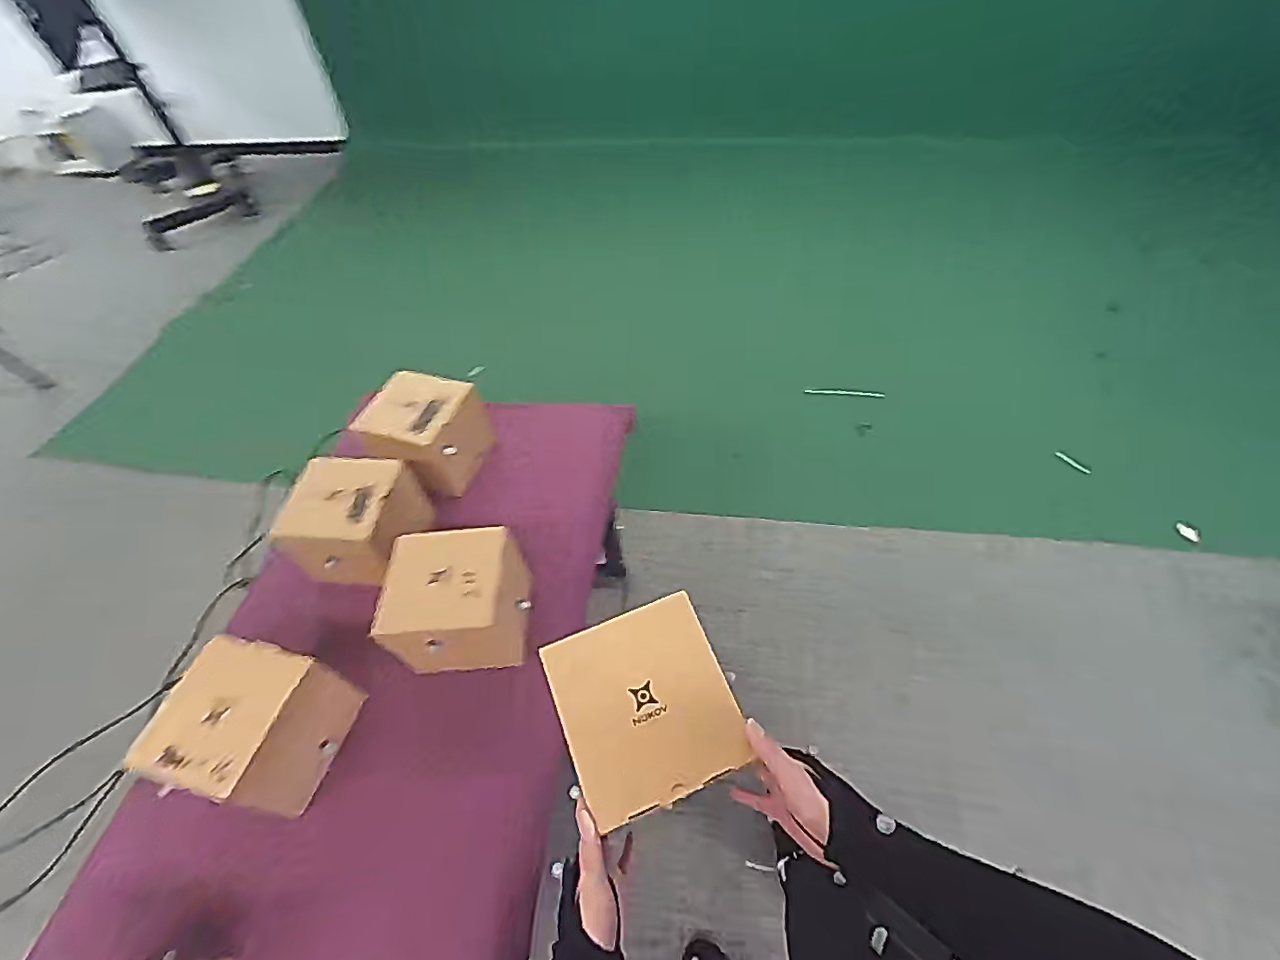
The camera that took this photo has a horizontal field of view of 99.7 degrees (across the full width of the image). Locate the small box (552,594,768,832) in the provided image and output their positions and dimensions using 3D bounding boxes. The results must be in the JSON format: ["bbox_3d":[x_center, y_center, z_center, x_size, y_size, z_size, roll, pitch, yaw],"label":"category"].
[{"bbox_3d":[0.014,0.253,0.595,0.168,0.176,0.179,-19,64,-10],"label":"small box"}]

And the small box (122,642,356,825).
[{"bbox_3d":[-0.541,0.360,0.766,0.168,0.176,0.179,9,53,12],"label":"small box"}]

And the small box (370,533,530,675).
[{"bbox_3d":[-0.288,0.203,0.864,0.179,0.176,0.168,-5,52,3],"label":"small box"}]
